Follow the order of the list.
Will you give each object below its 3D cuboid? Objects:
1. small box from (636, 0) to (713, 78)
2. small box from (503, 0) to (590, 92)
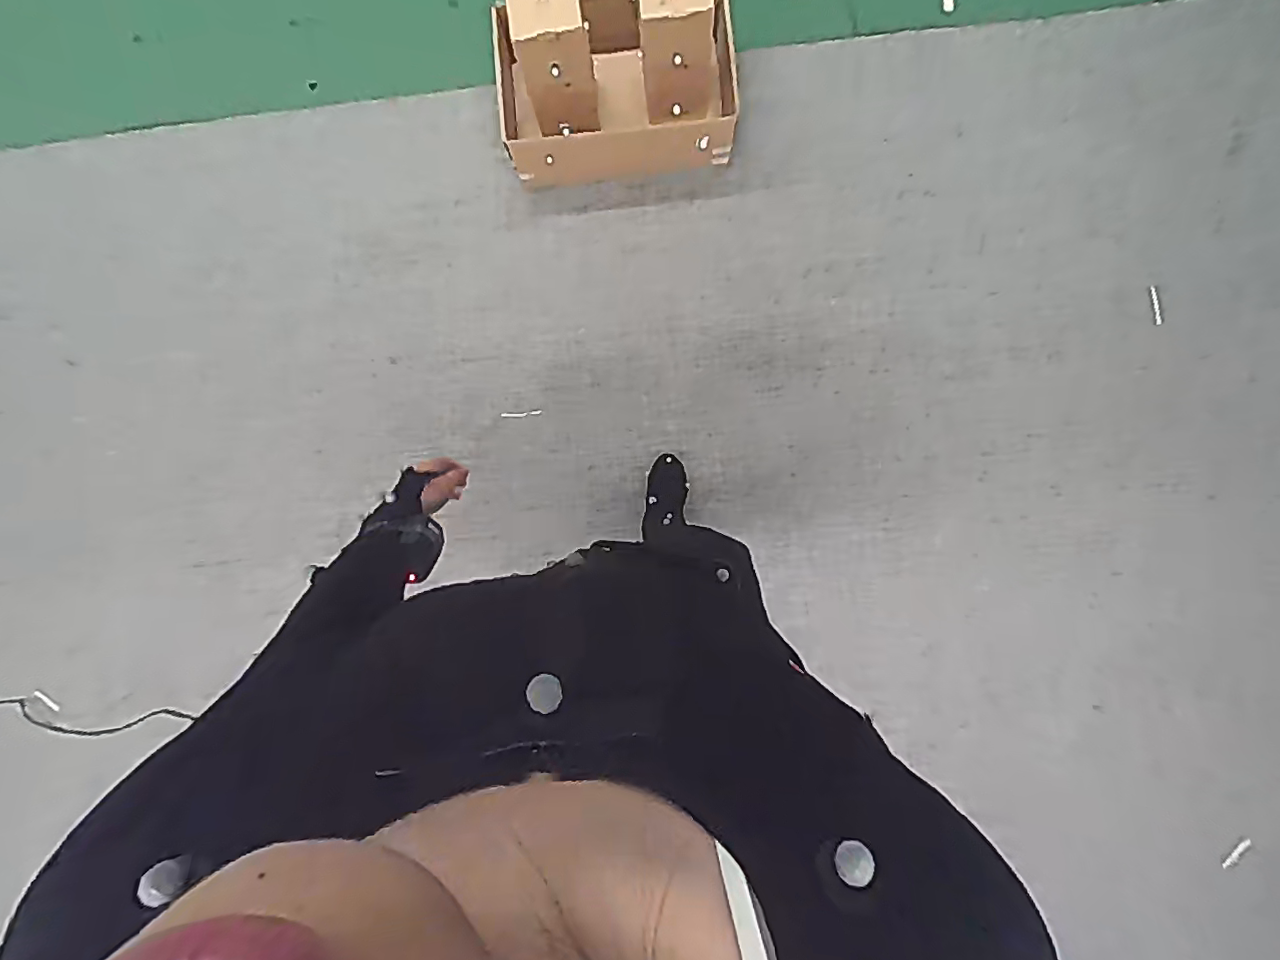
[{"bbox_3d":[0.077,-1.098,1.269,0.168,0.176,0.179,-6,87,3],"label":"small box"},{"bbox_3d":[-0.218,-1.058,1.279,0.168,0.176,0.179,-8,87,2],"label":"small box"}]
